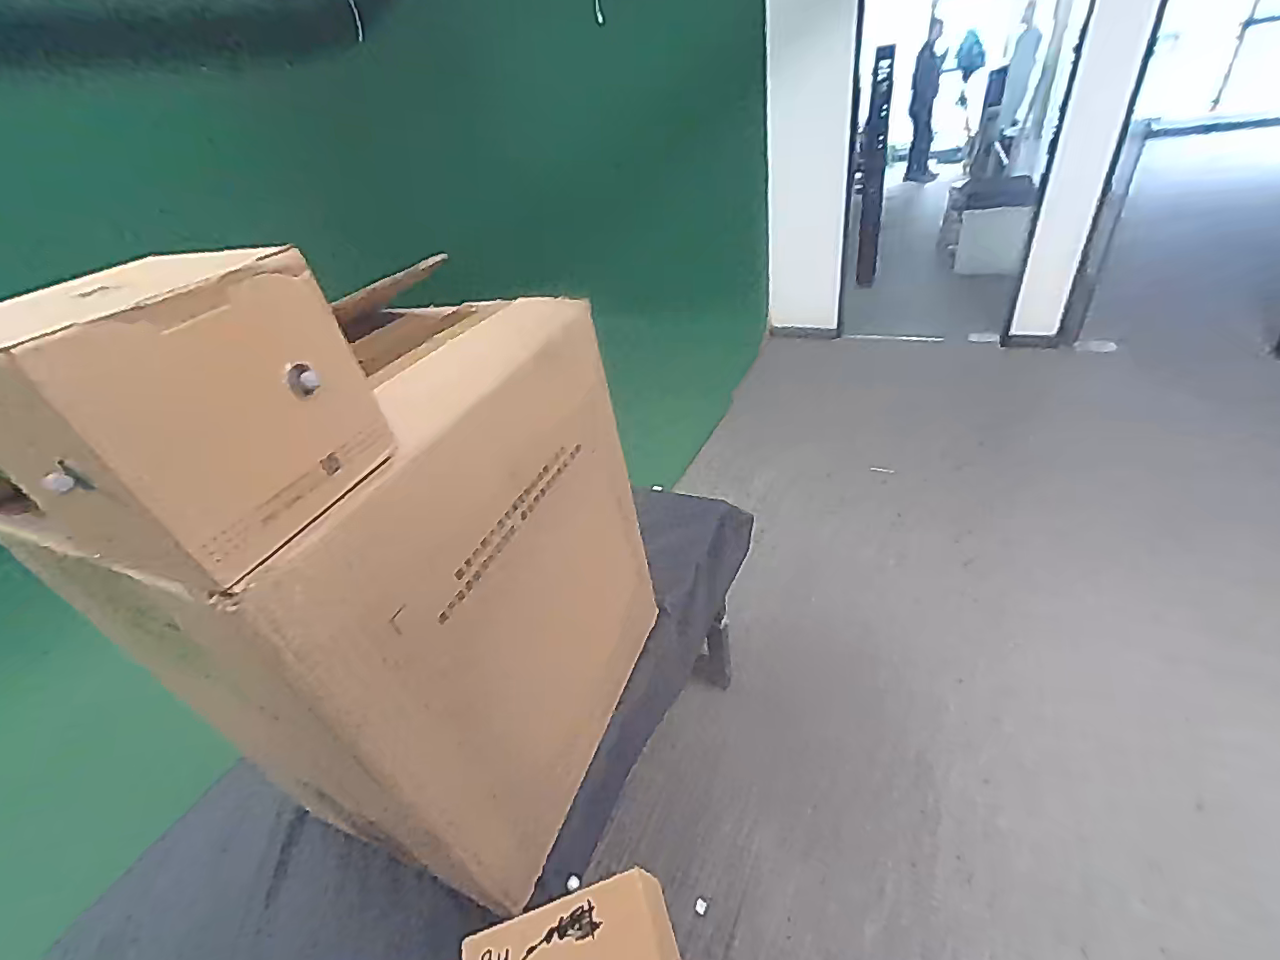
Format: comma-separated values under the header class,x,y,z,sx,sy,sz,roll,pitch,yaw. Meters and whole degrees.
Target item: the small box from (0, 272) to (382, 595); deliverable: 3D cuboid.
class,x,y,z,sx,sy,sz,roll,pitch,yaw
small box,-0.335,-0.038,0.400,0.179,0.176,0.168,6,39,25
